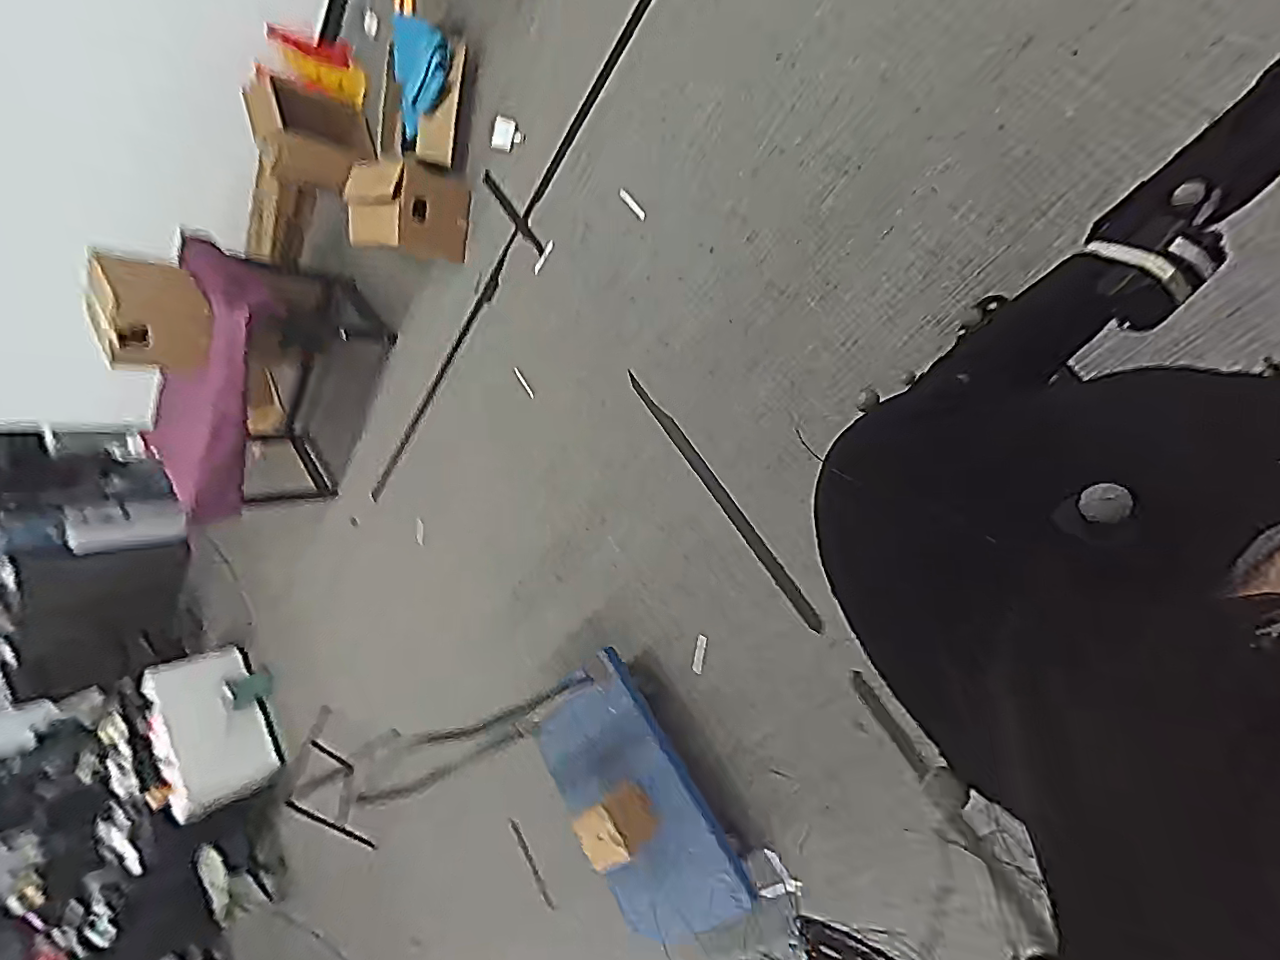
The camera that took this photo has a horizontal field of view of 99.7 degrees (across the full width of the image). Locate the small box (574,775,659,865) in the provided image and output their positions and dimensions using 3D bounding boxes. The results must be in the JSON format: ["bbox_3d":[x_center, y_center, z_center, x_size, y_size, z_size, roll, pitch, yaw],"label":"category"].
[{"bbox_3d":[-0.073,1.094,1.747,0.179,0.176,0.168,-45,68,32],"label":"small box"}]
